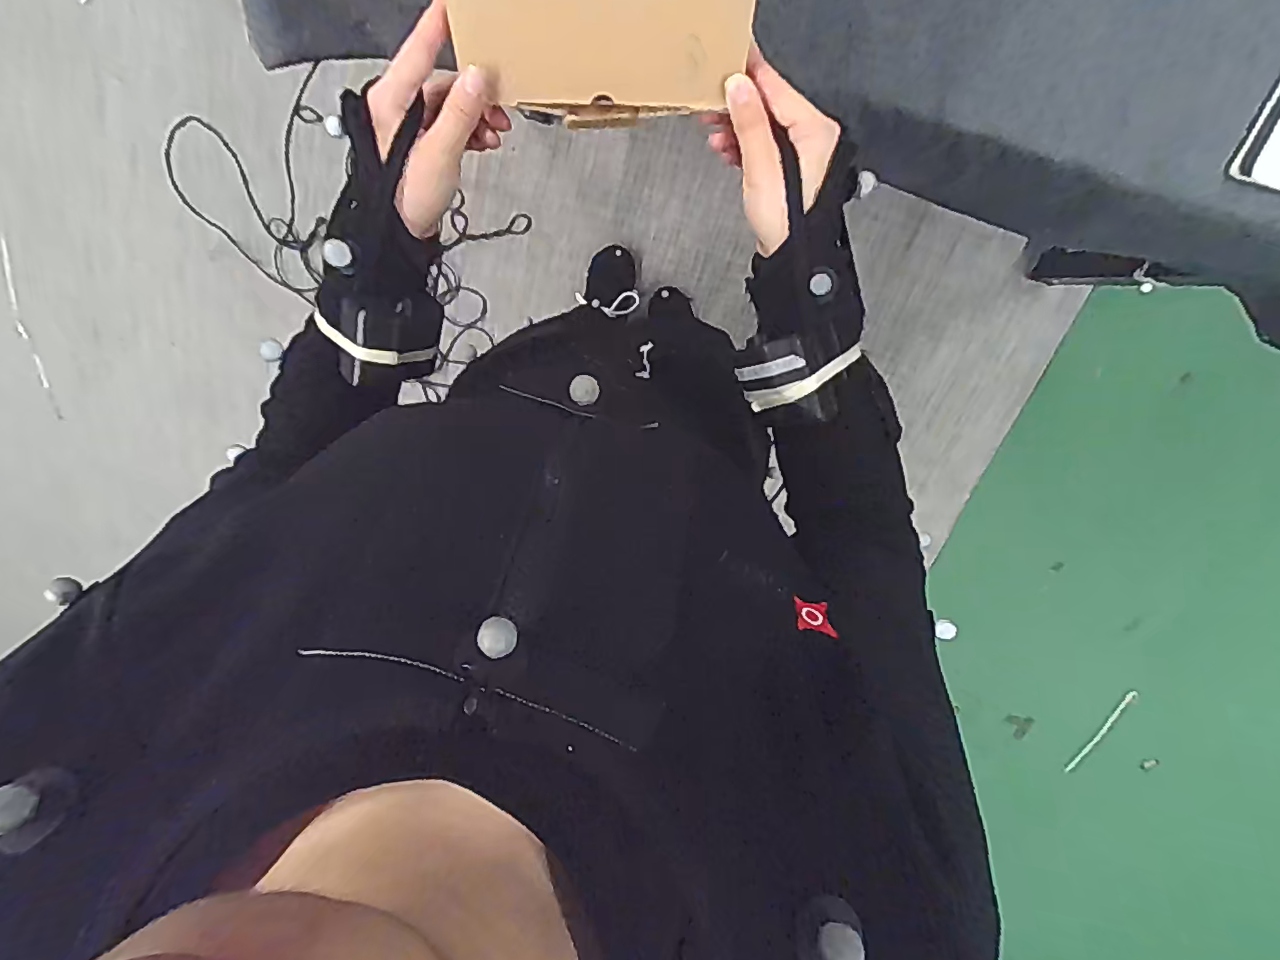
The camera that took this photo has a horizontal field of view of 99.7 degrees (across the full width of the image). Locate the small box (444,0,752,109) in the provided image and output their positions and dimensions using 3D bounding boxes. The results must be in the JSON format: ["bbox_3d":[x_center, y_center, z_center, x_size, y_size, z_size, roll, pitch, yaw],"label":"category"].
[{"bbox_3d":[-0.019,-0.338,0.302,0.168,0.176,0.179,1,141,0],"label":"small box"}]
